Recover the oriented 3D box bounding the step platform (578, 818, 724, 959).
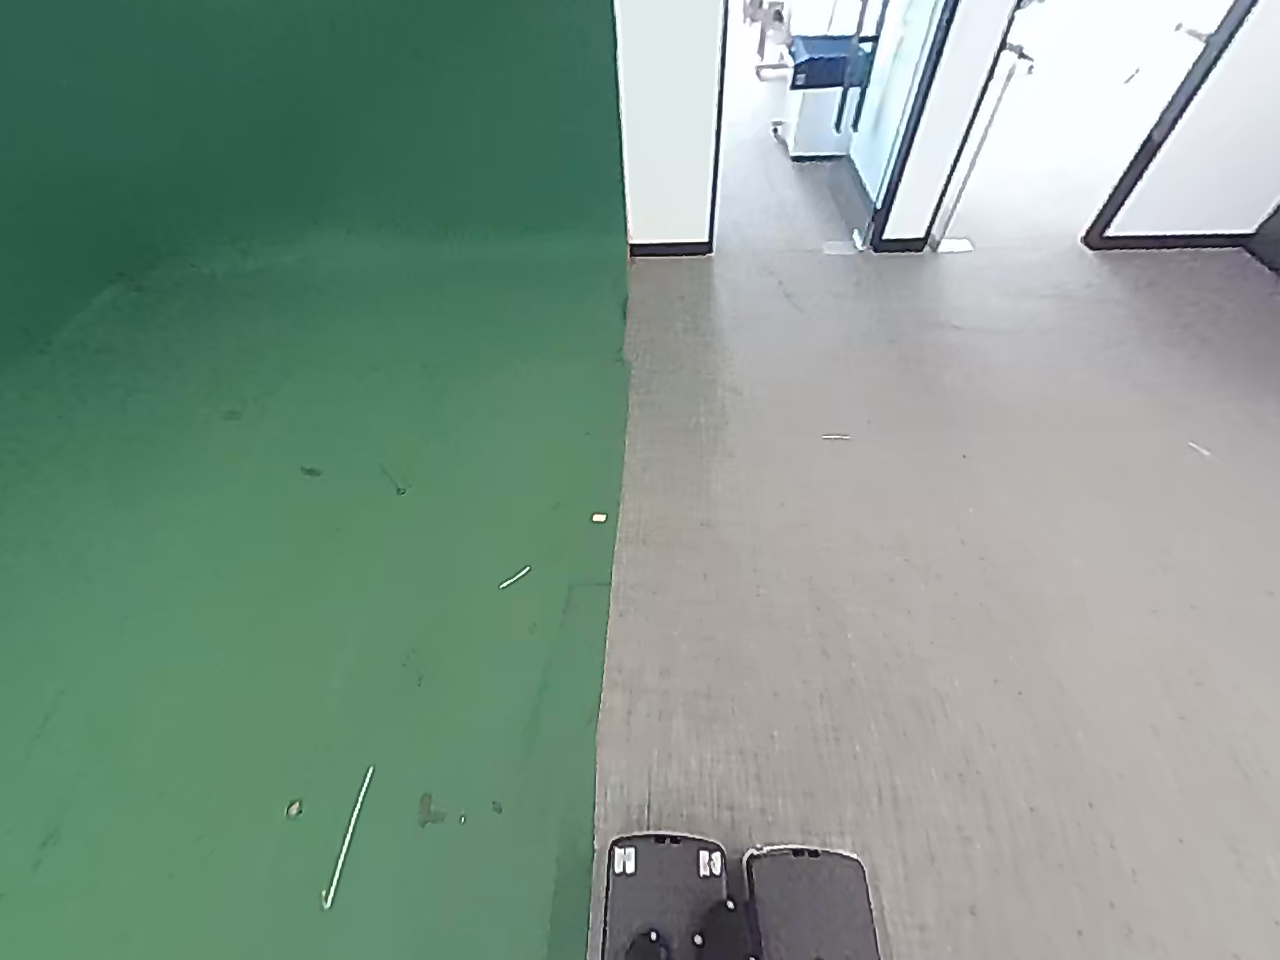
[{"bbox_3d":[0.015,1.011,0.960,0.286,0.204,0.684,1,53,2],"label":"step platform"}]
